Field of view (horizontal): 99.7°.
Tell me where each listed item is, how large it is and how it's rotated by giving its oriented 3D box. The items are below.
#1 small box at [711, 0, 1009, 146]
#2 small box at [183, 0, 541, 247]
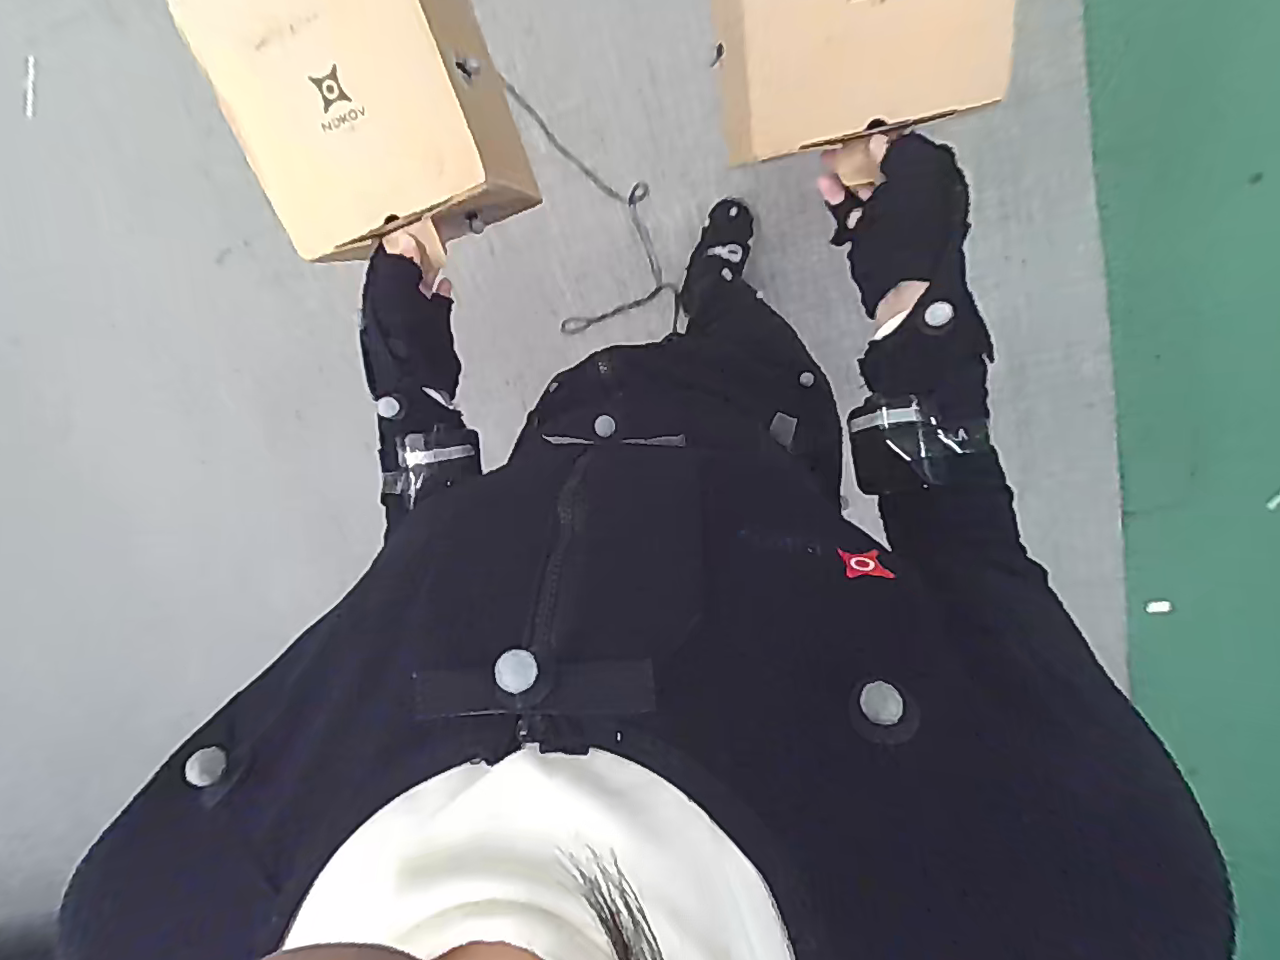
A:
[{"bbox_3d":[0.145,-0.361,0.398,0.168,0.176,0.179,-10,118,6],"label":"small box"},{"bbox_3d":[-0.200,-0.310,0.449,0.168,0.176,0.179,-17,109,10],"label":"small box"}]
